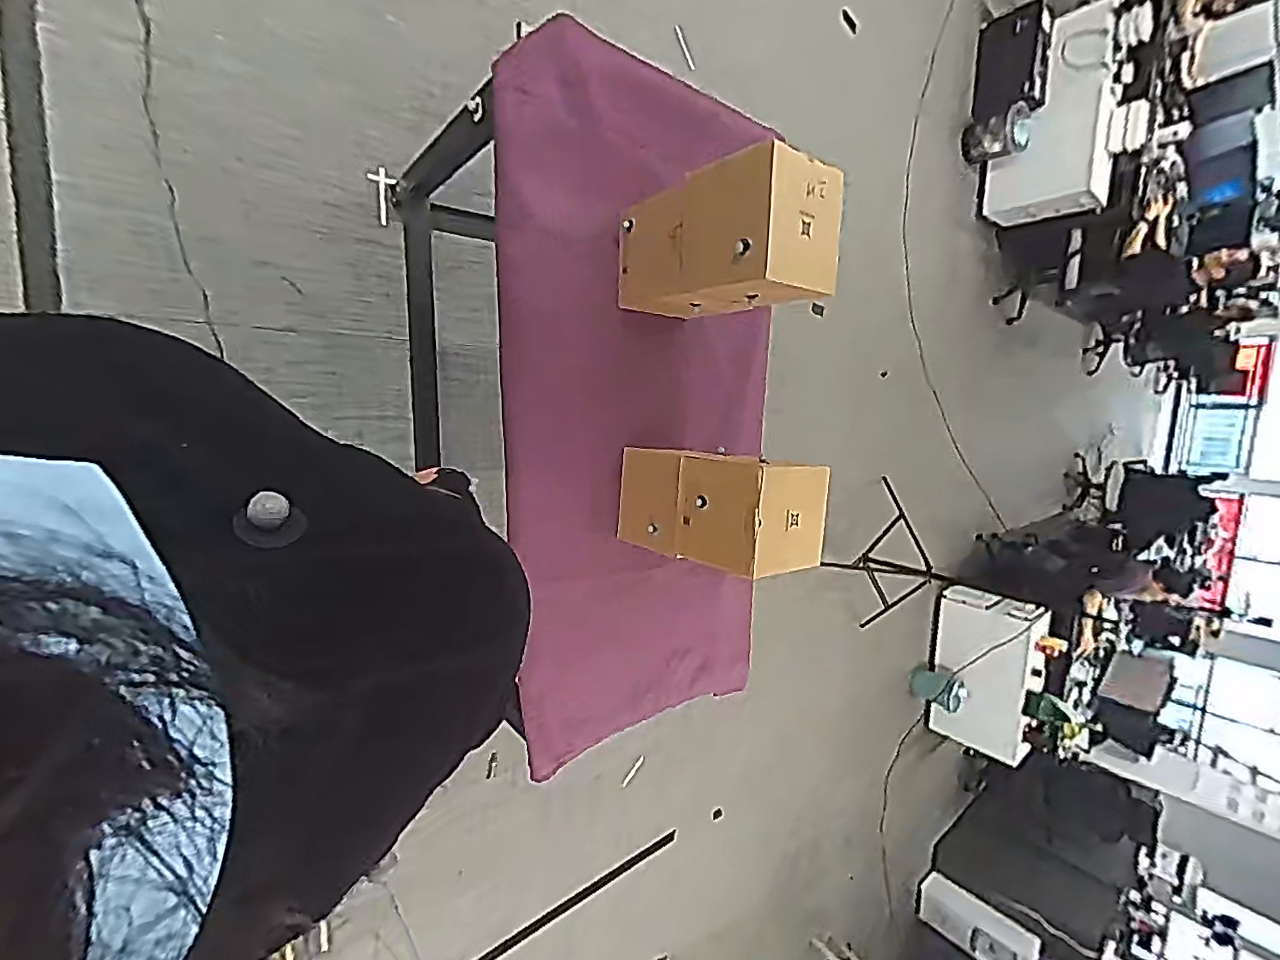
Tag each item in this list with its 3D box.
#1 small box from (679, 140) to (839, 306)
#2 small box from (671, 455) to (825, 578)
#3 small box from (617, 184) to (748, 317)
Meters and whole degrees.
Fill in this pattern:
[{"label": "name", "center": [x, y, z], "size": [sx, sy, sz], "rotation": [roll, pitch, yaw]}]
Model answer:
[{"label": "small box", "center": [0.173, -0.366, 0.813], "size": [0.168, 0.176, 0.179], "rotation": [-6, 101, -39]}, {"label": "small box", "center": [0.174, 0.048, 0.884], "size": [0.179, 0.176, 0.168], "rotation": [-2, 98, -40]}, {"label": "small box", "center": [0.075, -0.385, 0.944], "size": [0.179, 0.176, 0.168], "rotation": [-5, 101, -40]}]
